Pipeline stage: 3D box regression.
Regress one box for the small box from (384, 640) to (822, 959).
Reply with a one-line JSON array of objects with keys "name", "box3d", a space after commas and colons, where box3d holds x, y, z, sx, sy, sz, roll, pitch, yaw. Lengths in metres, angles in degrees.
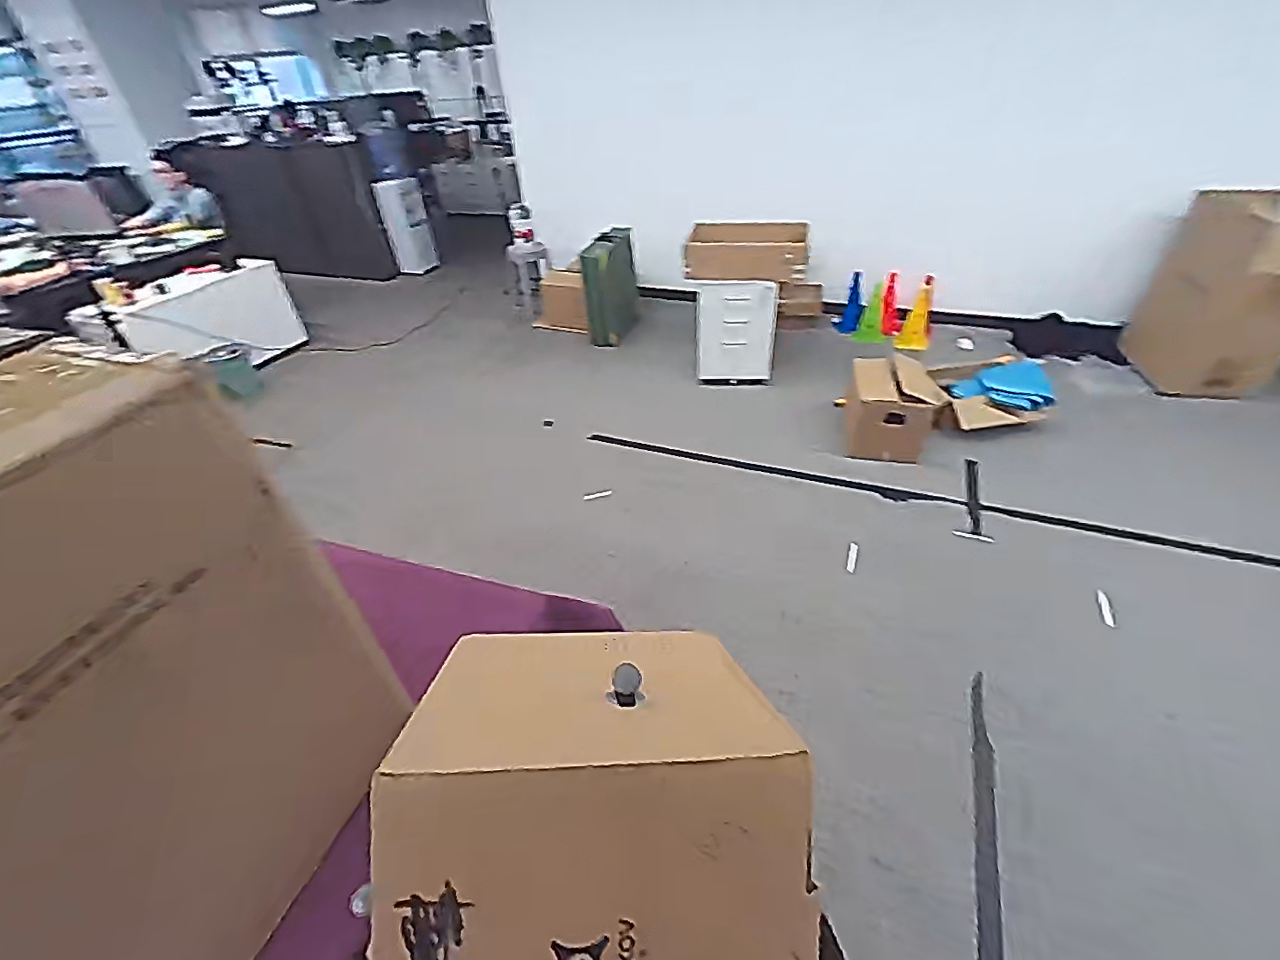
[{"name": "small box", "box3d": [-0.023, 0.192, 0.295, 0.179, 0.168, 0.176, 1, 0, -8]}]
